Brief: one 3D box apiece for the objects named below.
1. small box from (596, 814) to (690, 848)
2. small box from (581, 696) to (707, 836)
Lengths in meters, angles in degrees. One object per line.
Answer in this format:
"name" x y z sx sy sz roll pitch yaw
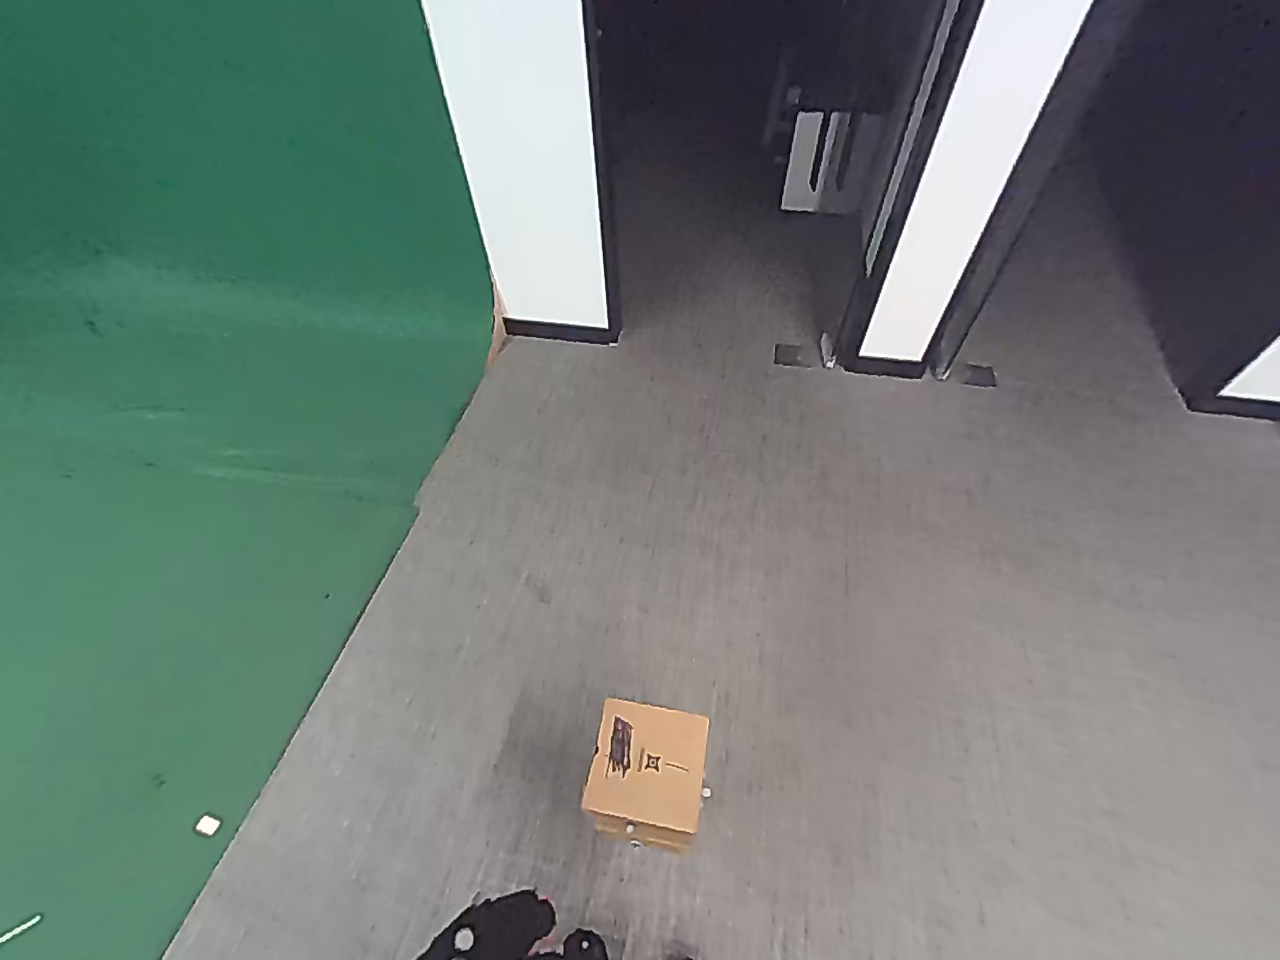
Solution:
"small box" 0.022 0.582 1.036 0.168 0.176 0.179 6 53 9
"small box" 0.015 0.491 0.920 0.179 0.176 0.168 7 53 9
